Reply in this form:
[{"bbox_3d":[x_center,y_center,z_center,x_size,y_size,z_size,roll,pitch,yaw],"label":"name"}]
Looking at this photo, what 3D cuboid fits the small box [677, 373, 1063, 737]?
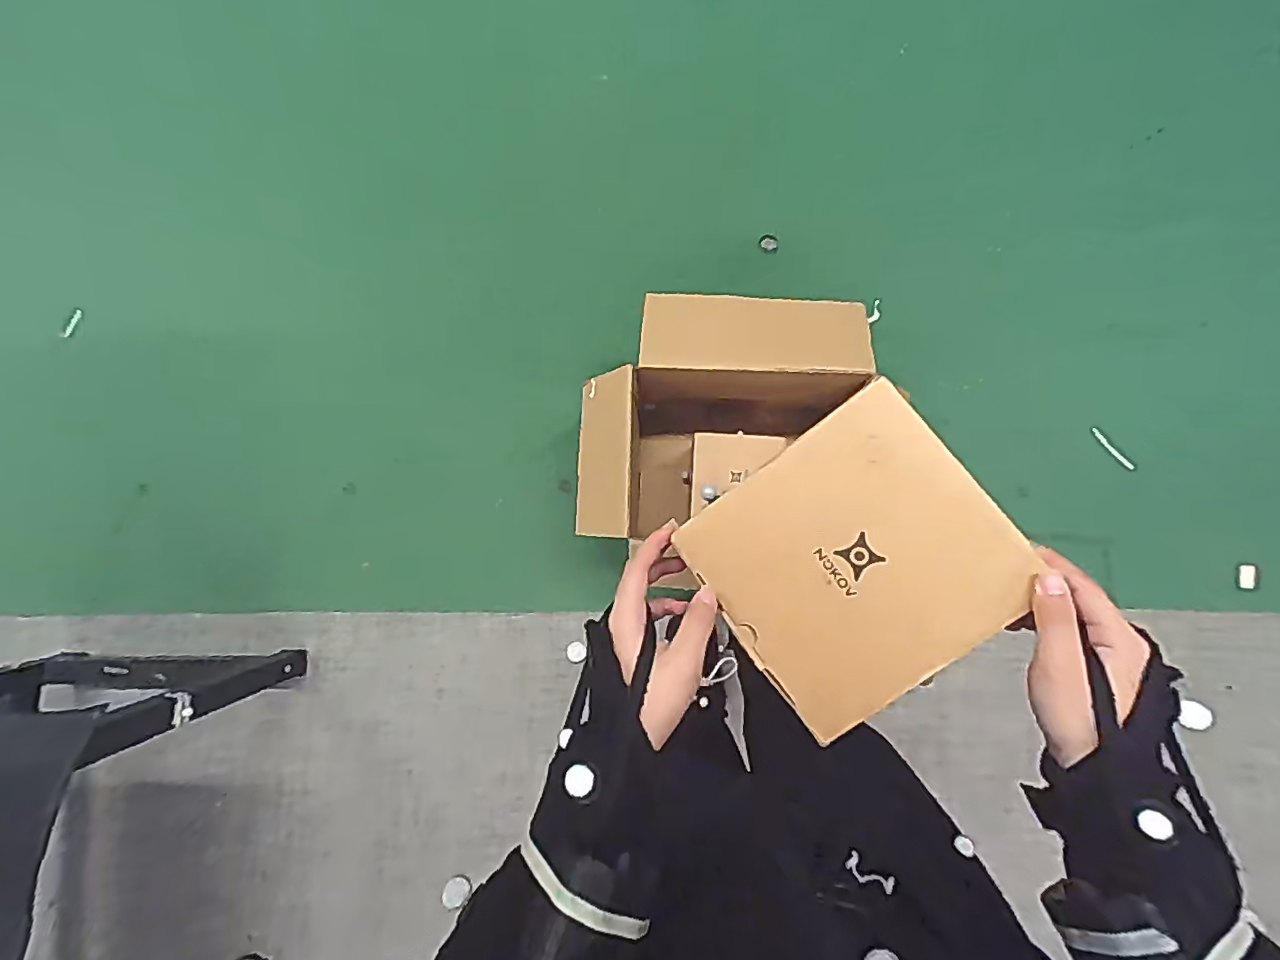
[{"bbox_3d":[0.150,0.049,0.416,0.179,0.176,0.168,-38,81,7],"label":"small box"}]
